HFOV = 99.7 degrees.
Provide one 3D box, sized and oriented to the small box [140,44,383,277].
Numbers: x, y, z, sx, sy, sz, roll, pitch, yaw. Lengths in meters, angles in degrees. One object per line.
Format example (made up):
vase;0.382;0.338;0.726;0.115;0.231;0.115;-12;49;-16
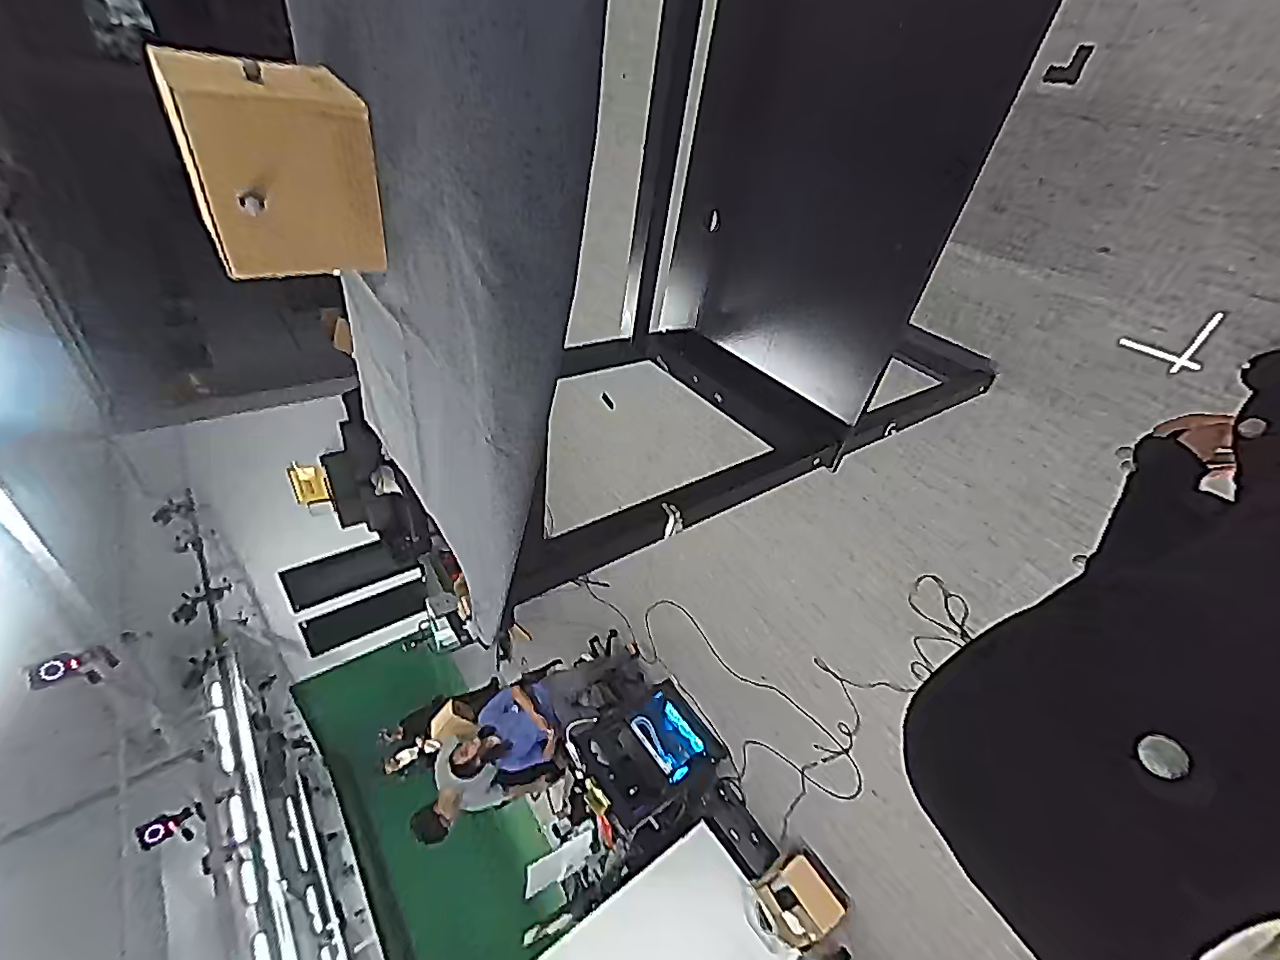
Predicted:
small box;-0.410;-0.355;0.609;0.168;0.176;0.179;47;142;30
